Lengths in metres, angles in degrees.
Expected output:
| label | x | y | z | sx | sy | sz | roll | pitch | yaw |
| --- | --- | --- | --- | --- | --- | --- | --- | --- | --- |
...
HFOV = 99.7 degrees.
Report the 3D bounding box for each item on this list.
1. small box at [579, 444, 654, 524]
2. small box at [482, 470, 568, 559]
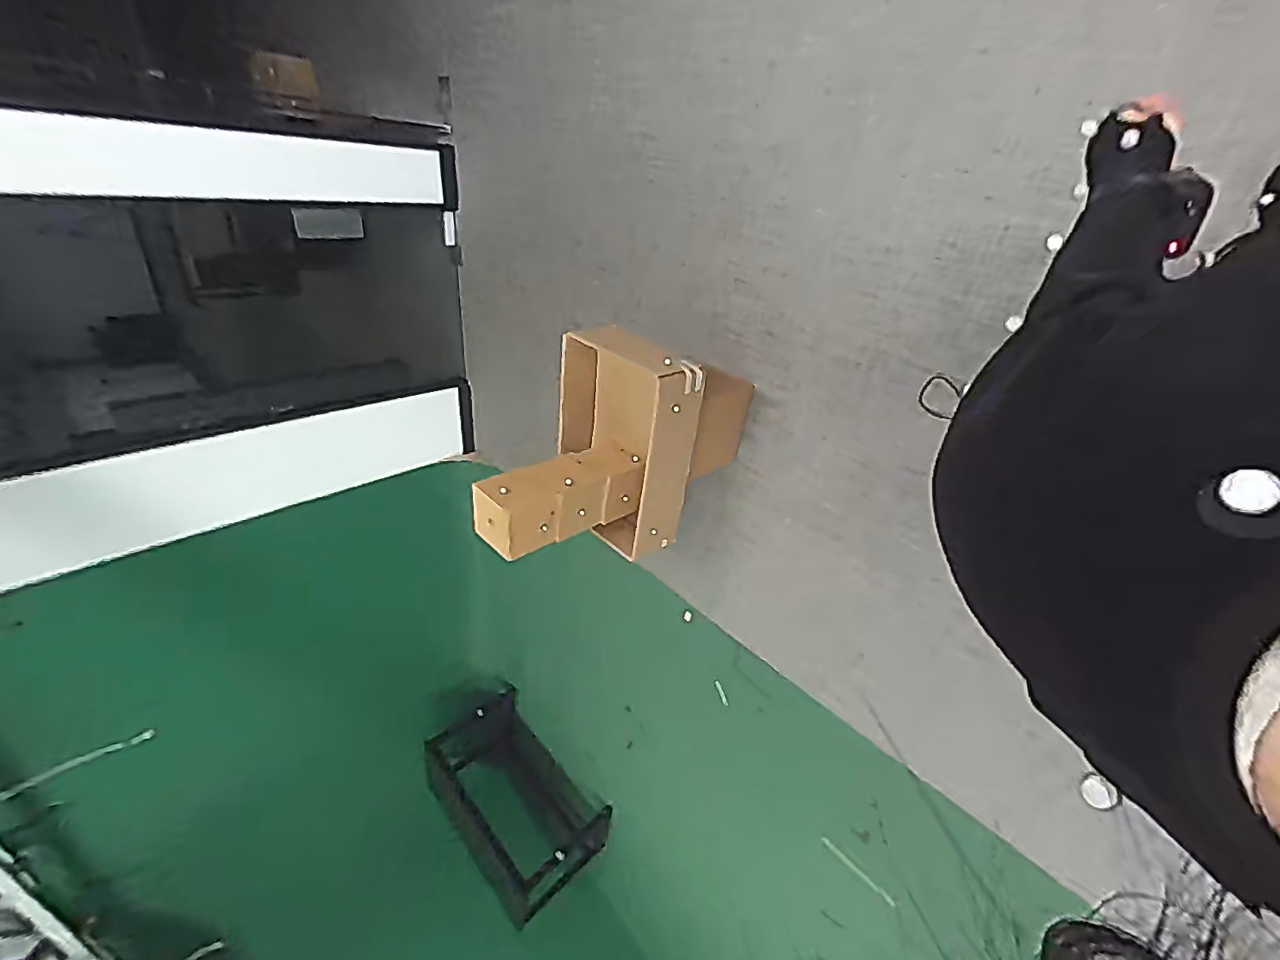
| label | x | y | z | sx | sy | sz | roll | pitch | yaw |
| --- | --- | --- | --- | --- | --- | --- | --- | --- | --- |
| small box | -0.072 | 0.005 | 1.710 | 0.168 | 0.176 | 0.179 | 34 | 131 | 34 |
| small box | -0.322 | 0.086 | 1.514 | 0.179 | 0.176 | 0.168 | 31 | 129 | 36 |
